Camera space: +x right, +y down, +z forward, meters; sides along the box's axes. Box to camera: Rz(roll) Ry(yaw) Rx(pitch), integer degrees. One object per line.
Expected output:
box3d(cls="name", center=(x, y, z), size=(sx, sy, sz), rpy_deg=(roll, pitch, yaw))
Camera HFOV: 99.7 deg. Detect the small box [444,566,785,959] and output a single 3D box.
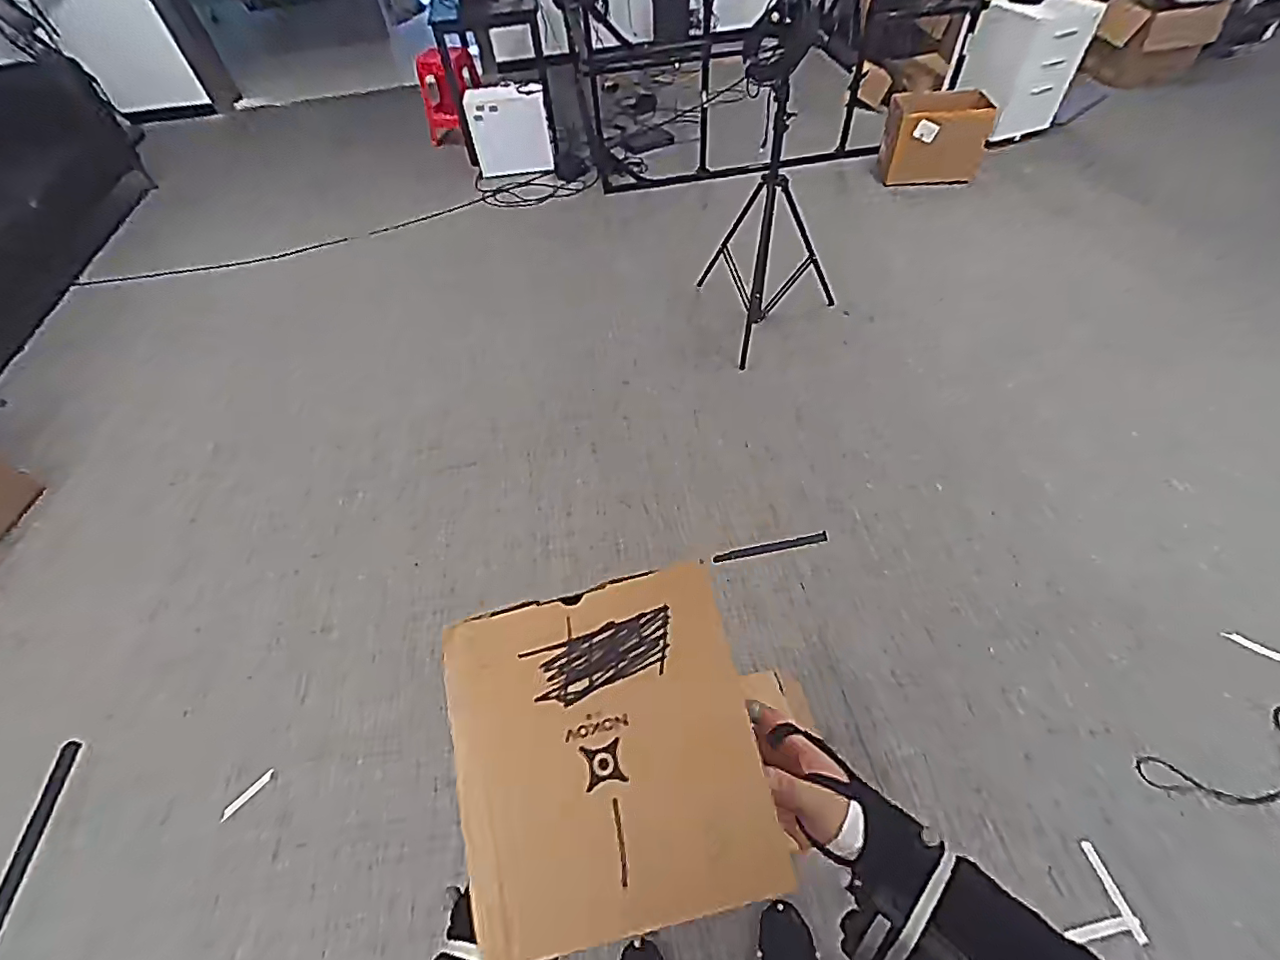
box3d(cls="small box", center=(-0.017, 0.177, 0.378), size=(0.168, 0.176, 0.179), rpy_deg=(-14, 70, 0))
